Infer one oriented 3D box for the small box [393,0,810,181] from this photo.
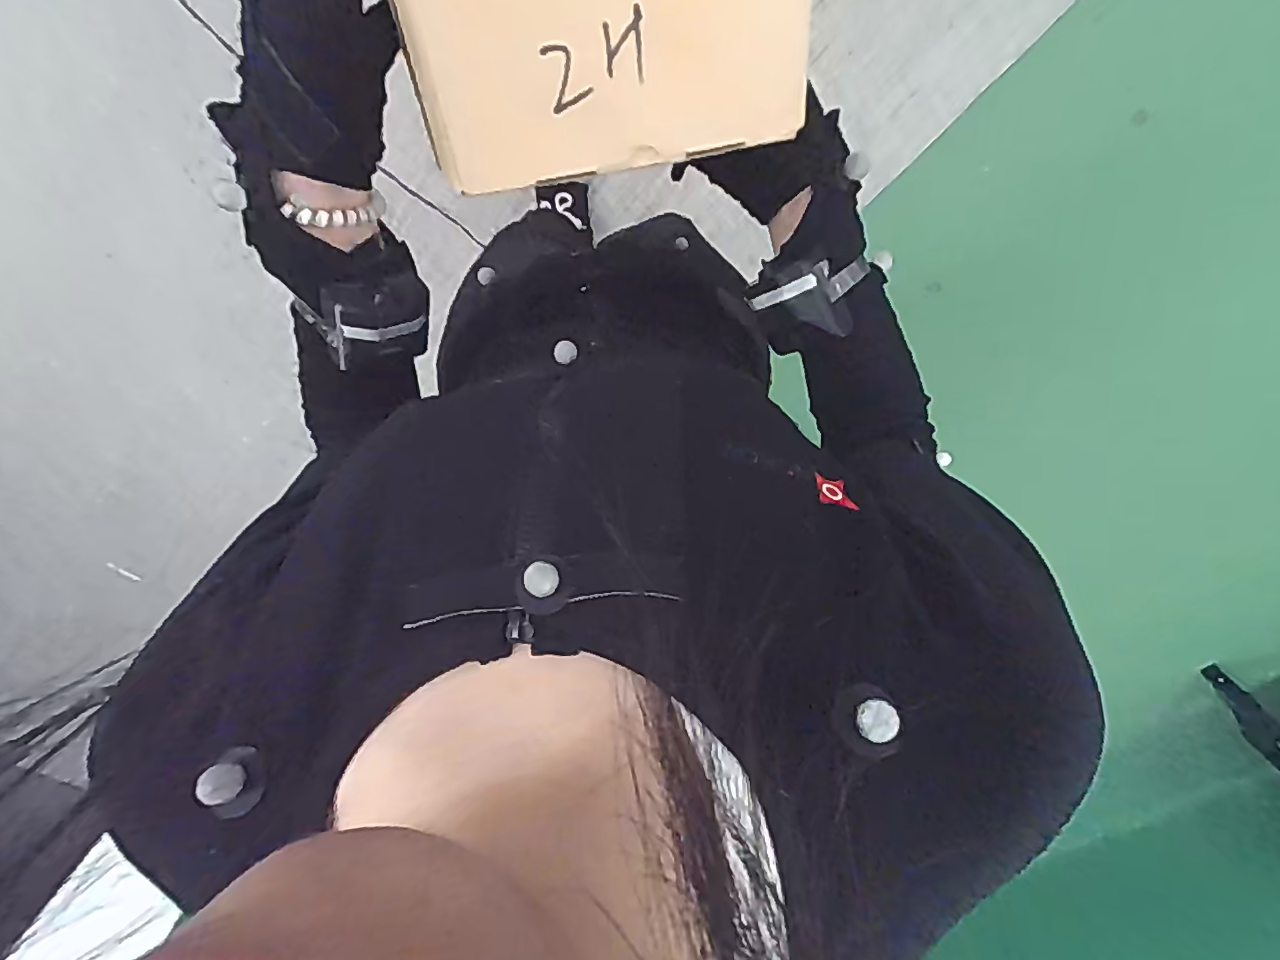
[{"bbox_3d":[-0.035,-0.259,0.254,0.168,0.176,0.179,-18,130,-14],"label":"small box"}]
